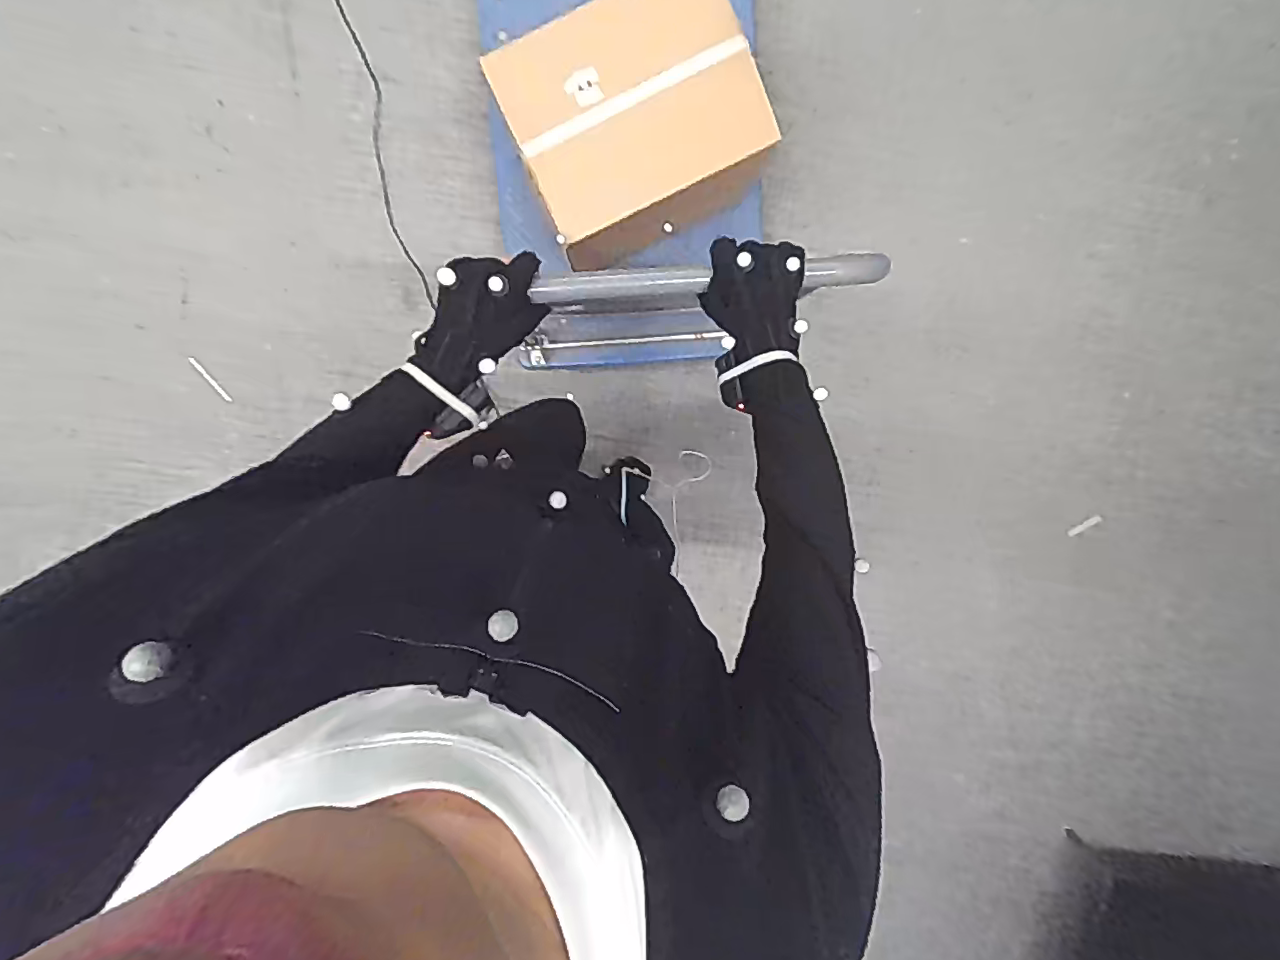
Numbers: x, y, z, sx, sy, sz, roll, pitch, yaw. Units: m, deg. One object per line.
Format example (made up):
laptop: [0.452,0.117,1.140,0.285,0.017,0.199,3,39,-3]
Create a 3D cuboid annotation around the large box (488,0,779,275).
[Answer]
large box: [-0.010,-0.649,1.037,0.408,0.320,0.320,-26,99,3]
